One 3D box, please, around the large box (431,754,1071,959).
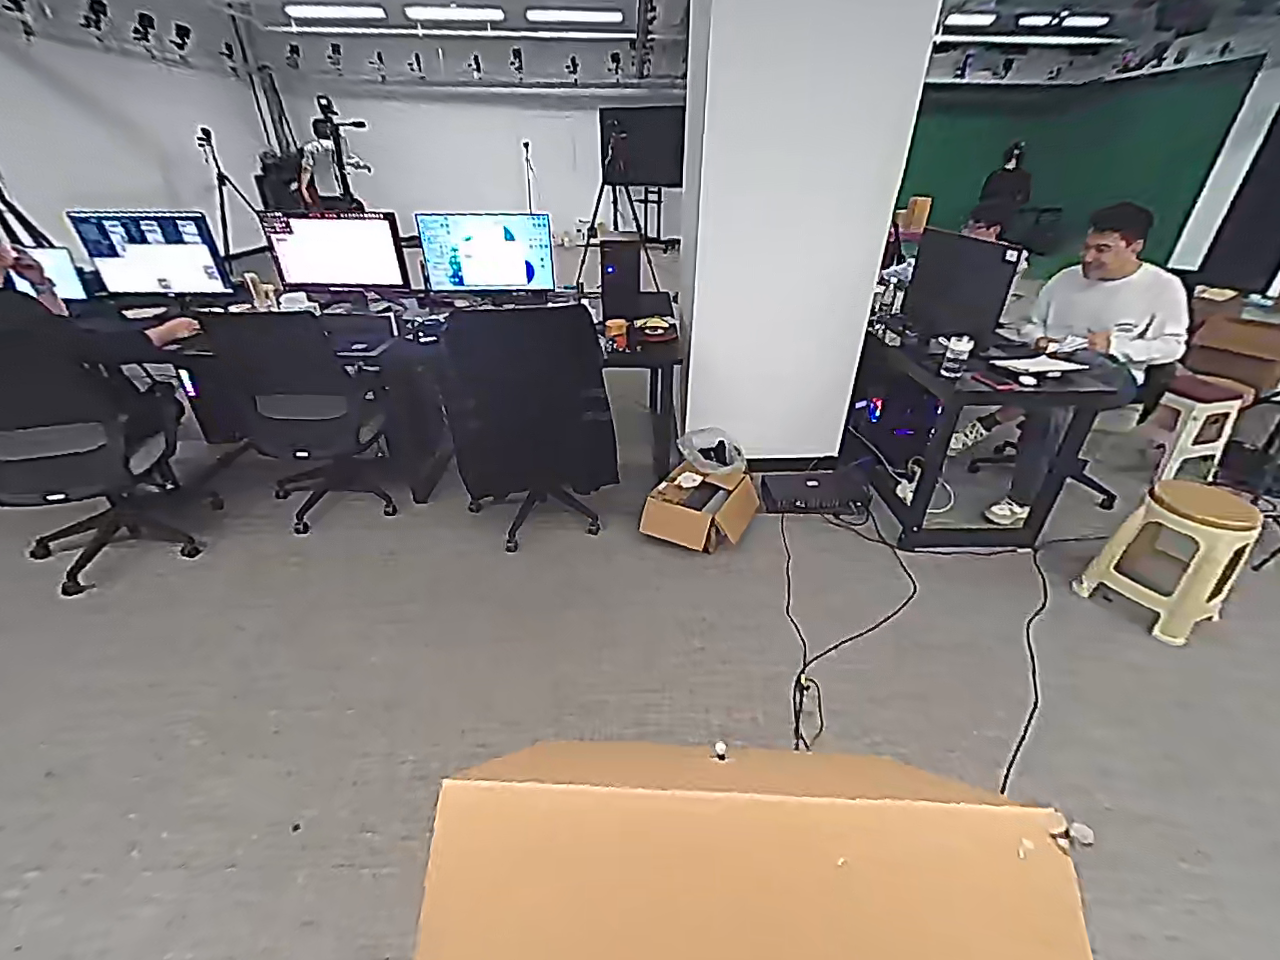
[{"bbox_3d":[0.069,0.415,0.452,0.408,0.320,0.320,0,70,4],"label":"large box"}]
